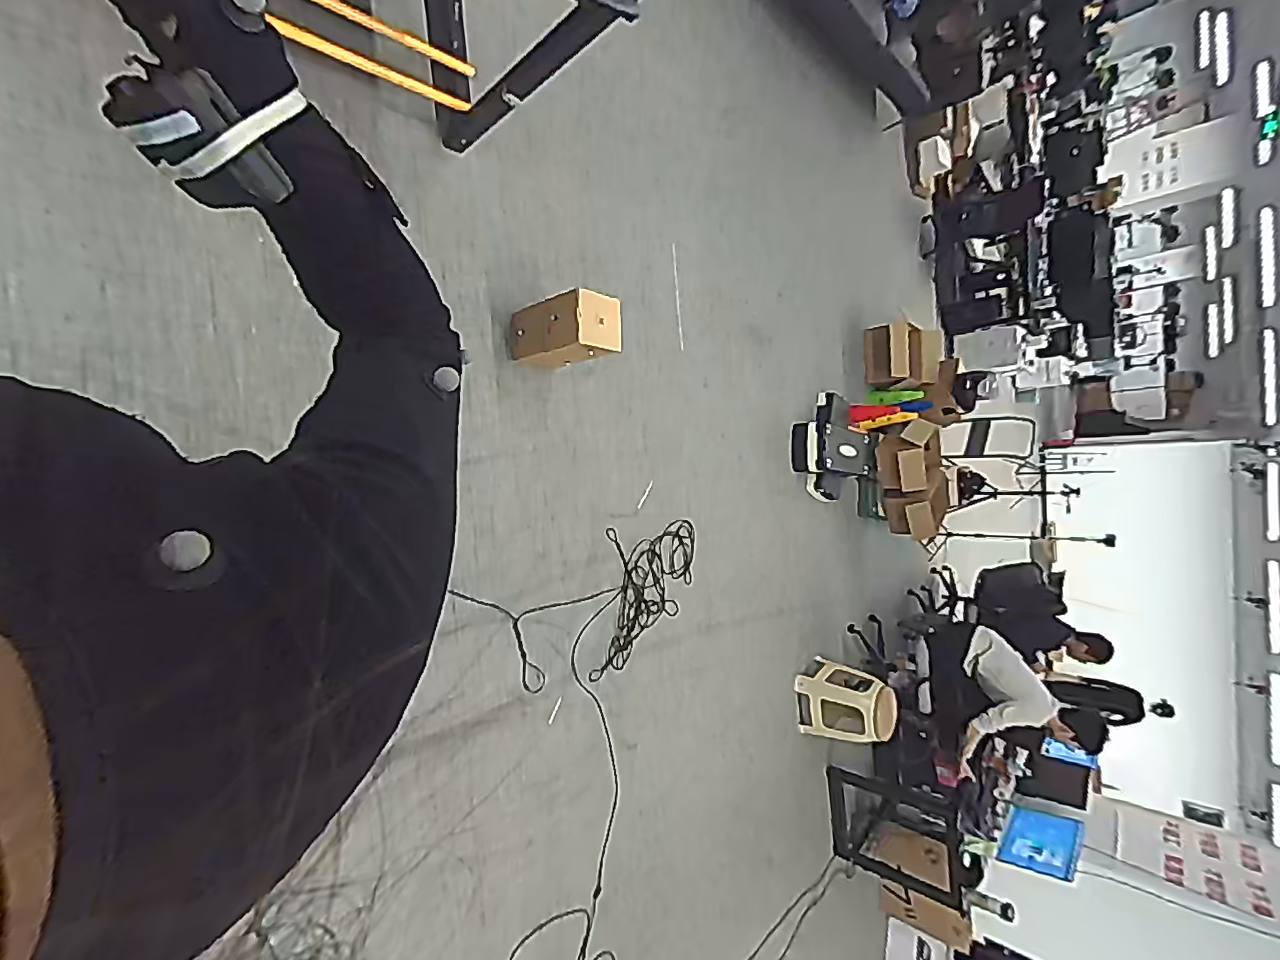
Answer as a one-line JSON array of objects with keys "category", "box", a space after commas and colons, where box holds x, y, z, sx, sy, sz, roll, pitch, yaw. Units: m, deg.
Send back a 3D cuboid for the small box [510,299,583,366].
[{"category": "small box", "box": [-0.311, -0.482, 1.801, 0.179, 0.176, 0.168, 1, 88, -47]}]
